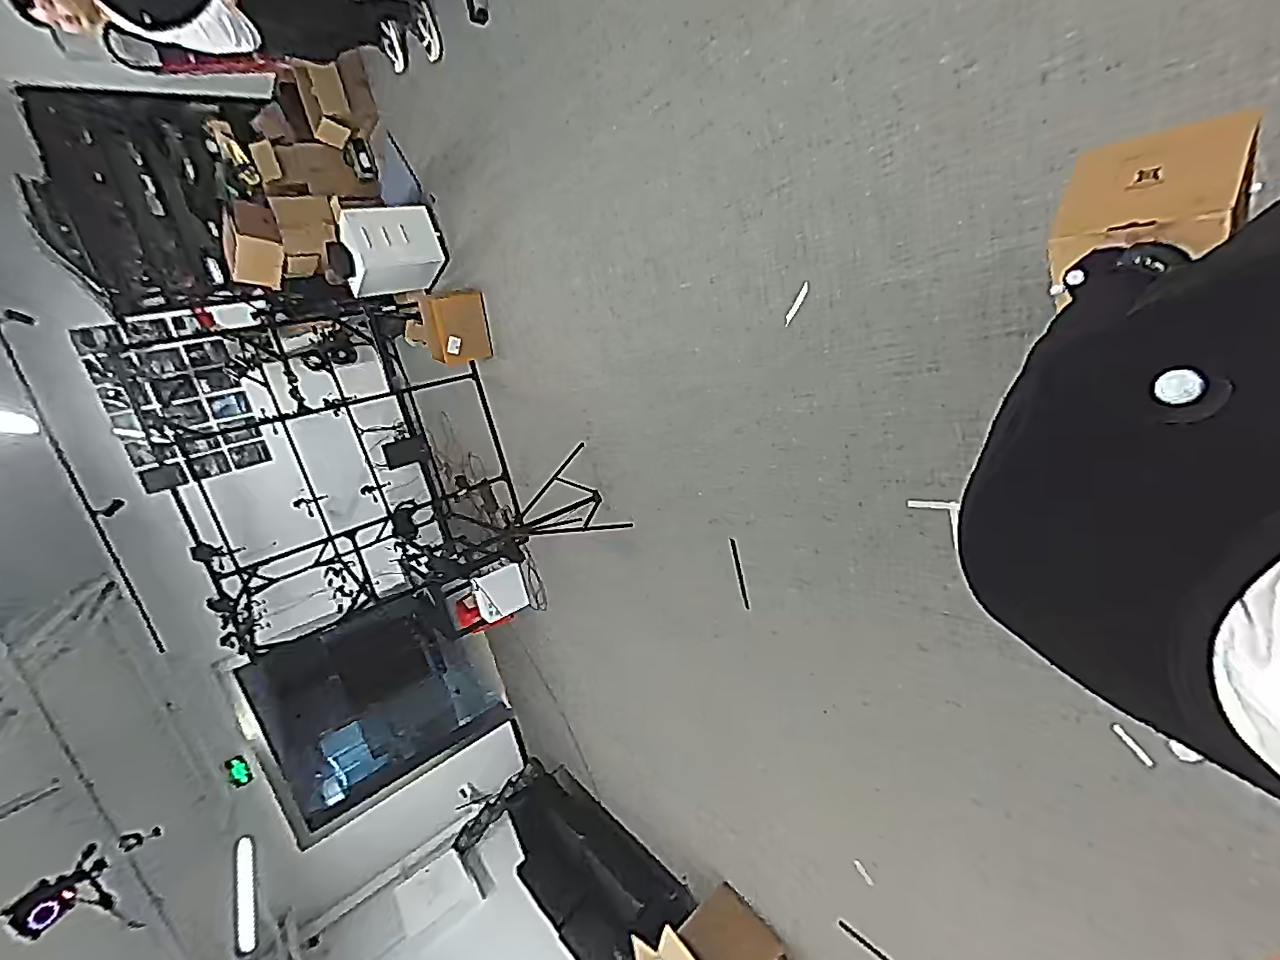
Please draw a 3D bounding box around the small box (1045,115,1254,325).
[{"bbox_3d":[0.663,-0.320,0.711,0.168,0.179,0.176,12,155,47],"label":"small box"}]
